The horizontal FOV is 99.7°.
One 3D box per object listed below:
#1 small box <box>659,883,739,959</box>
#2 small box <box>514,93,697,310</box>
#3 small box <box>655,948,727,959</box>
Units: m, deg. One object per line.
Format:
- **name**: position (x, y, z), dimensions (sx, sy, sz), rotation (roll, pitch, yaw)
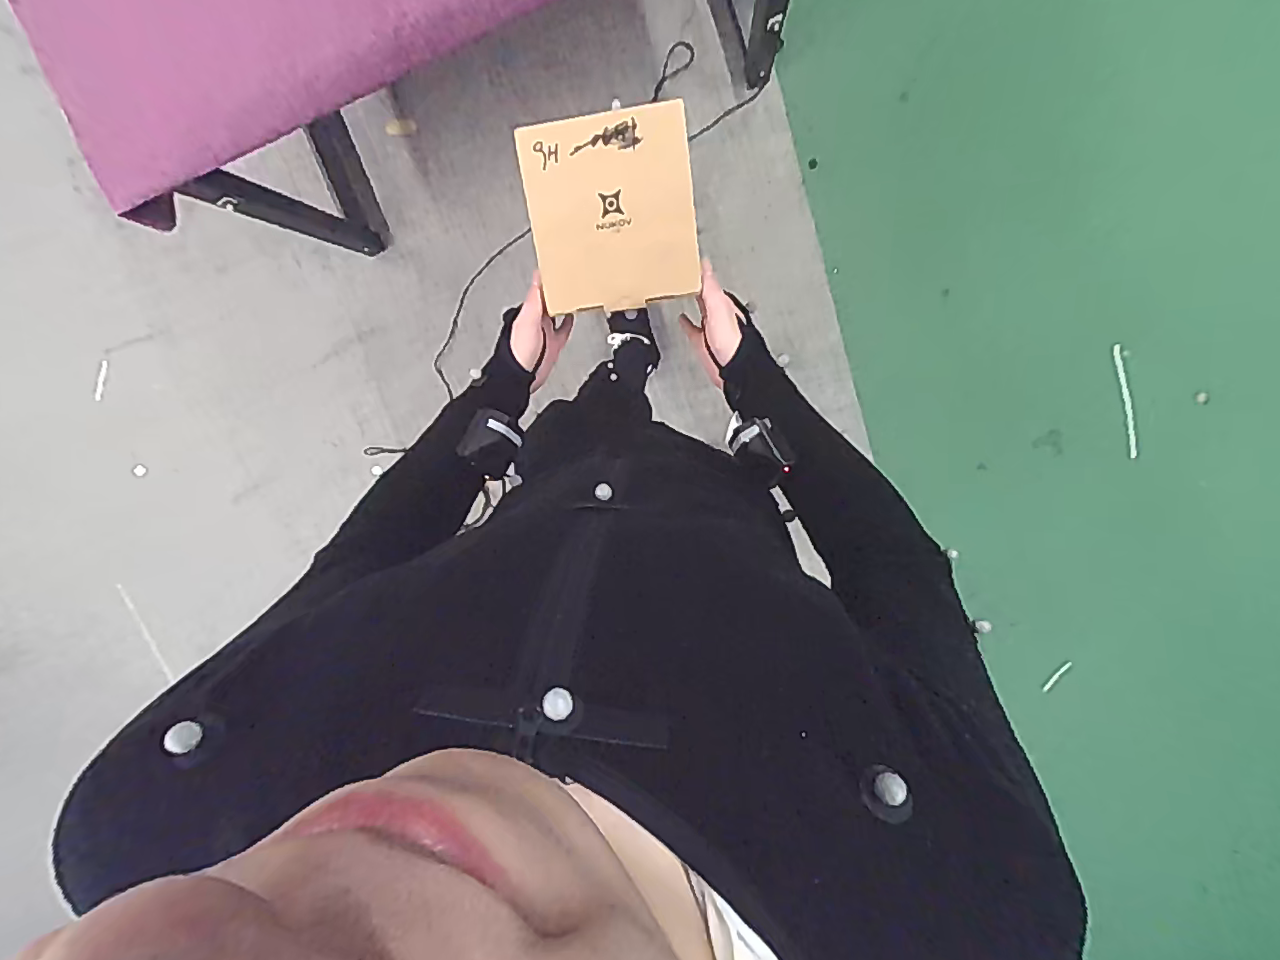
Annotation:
- **small box**: position (0.147, 1.136, 1.334), dimensions (0.168, 0.176, 0.179), rotation (-13, 101, 9)
- **small box**: position (-0.025, -0.297, 0.609), dimensions (0.168, 0.176, 0.179), rotation (-7, 109, 5)
- **small box**: position (0.121, 1.164, 1.175), dimensions (0.168, 0.176, 0.179), rotation (-11, 101, 9)
